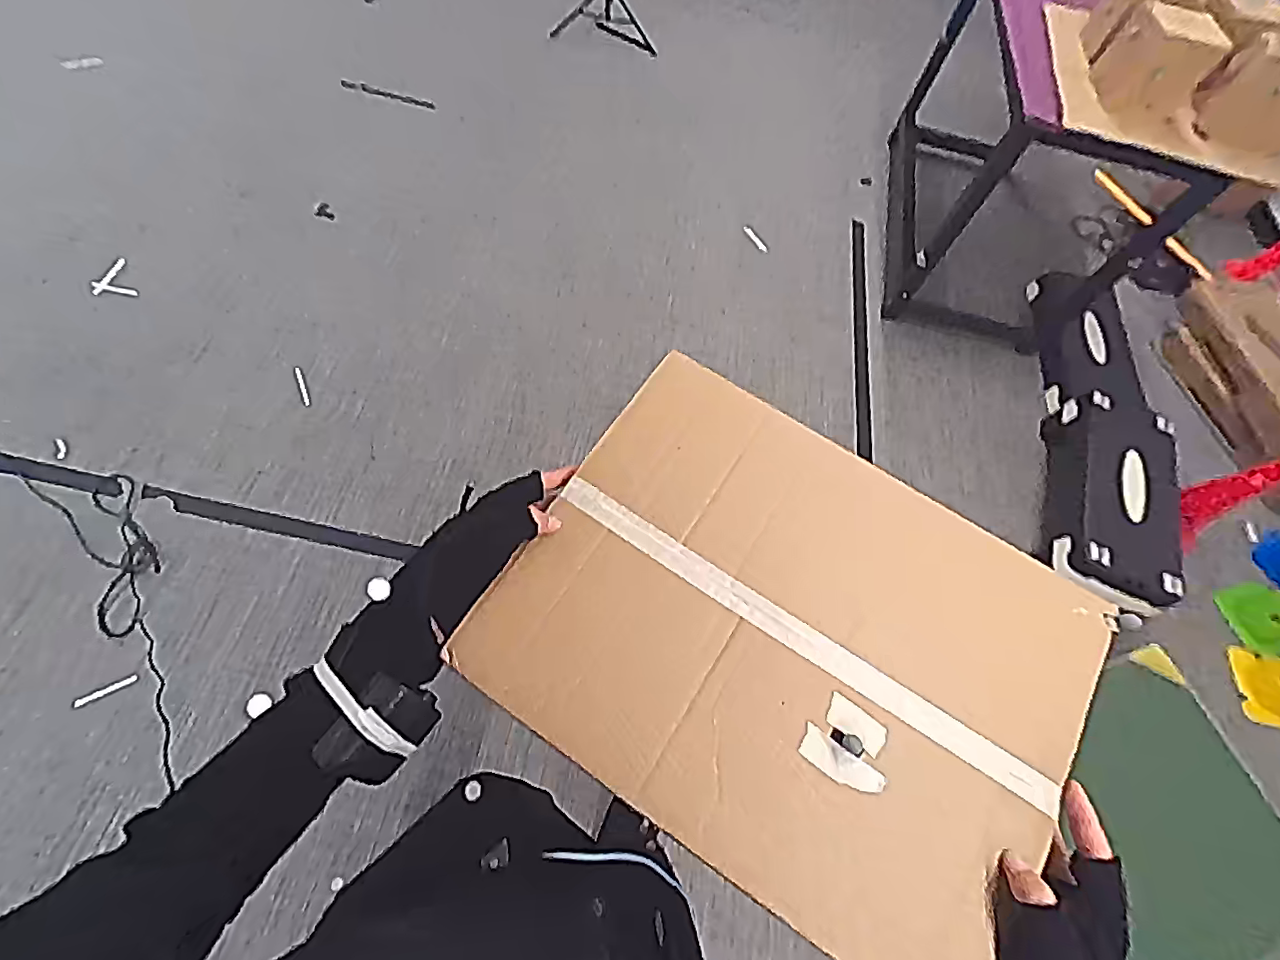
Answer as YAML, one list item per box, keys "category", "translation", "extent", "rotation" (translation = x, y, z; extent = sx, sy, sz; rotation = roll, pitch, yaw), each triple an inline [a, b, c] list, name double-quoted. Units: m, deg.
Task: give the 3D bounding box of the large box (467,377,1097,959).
- category: "large box"
  translation: [0.109, 0.174, 0.550]
  extent: [0.408, 0.320, 0.320]
  rotation: [32, 72, 10]
